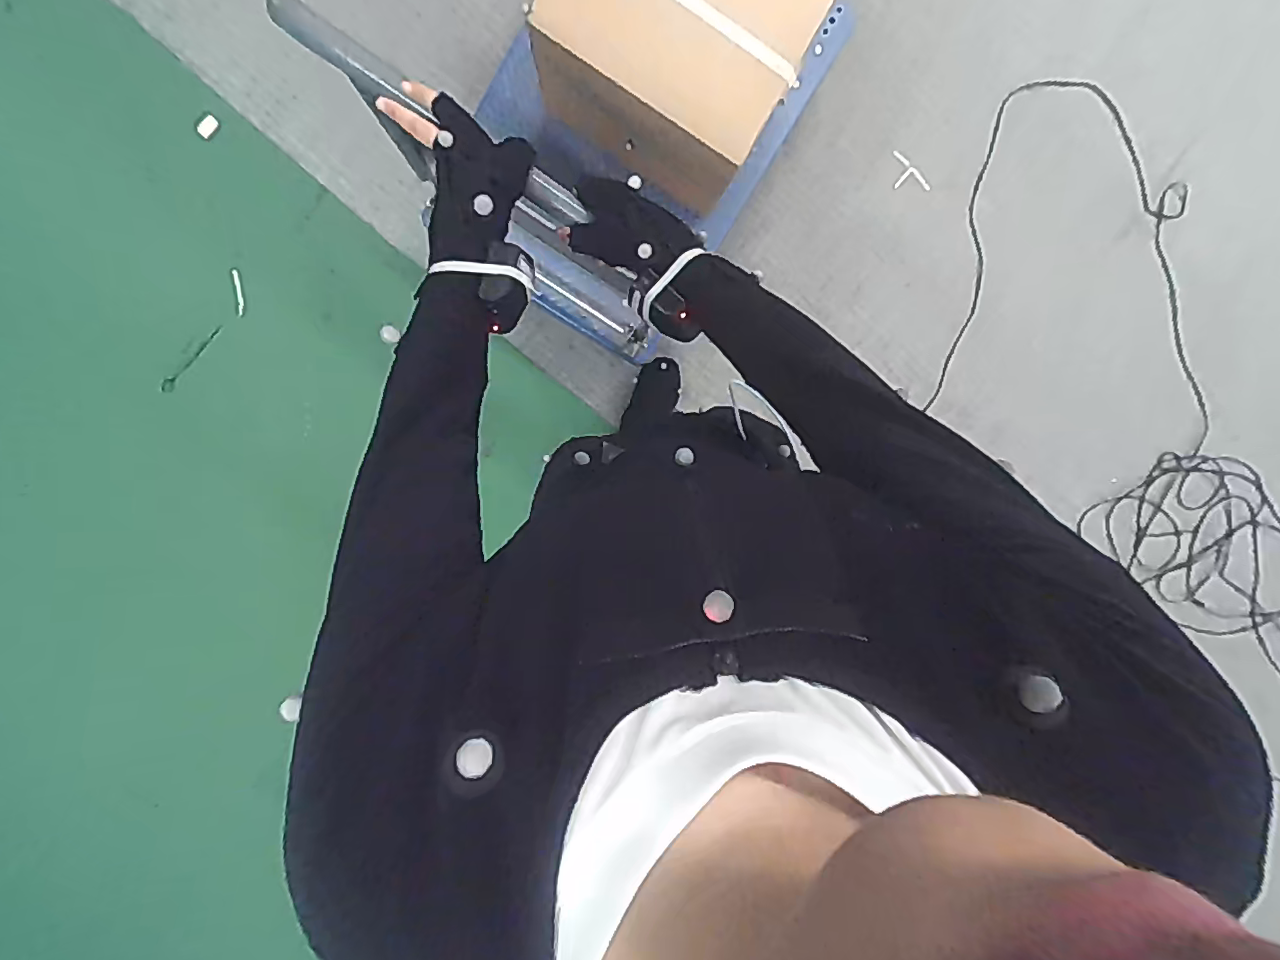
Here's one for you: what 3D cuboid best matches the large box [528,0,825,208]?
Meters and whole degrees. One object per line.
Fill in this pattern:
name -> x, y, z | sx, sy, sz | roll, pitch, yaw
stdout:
large box -> 0.061, -0.789, 1.005 | 0.408, 0.320, 0.320 | 29, 97, -8
